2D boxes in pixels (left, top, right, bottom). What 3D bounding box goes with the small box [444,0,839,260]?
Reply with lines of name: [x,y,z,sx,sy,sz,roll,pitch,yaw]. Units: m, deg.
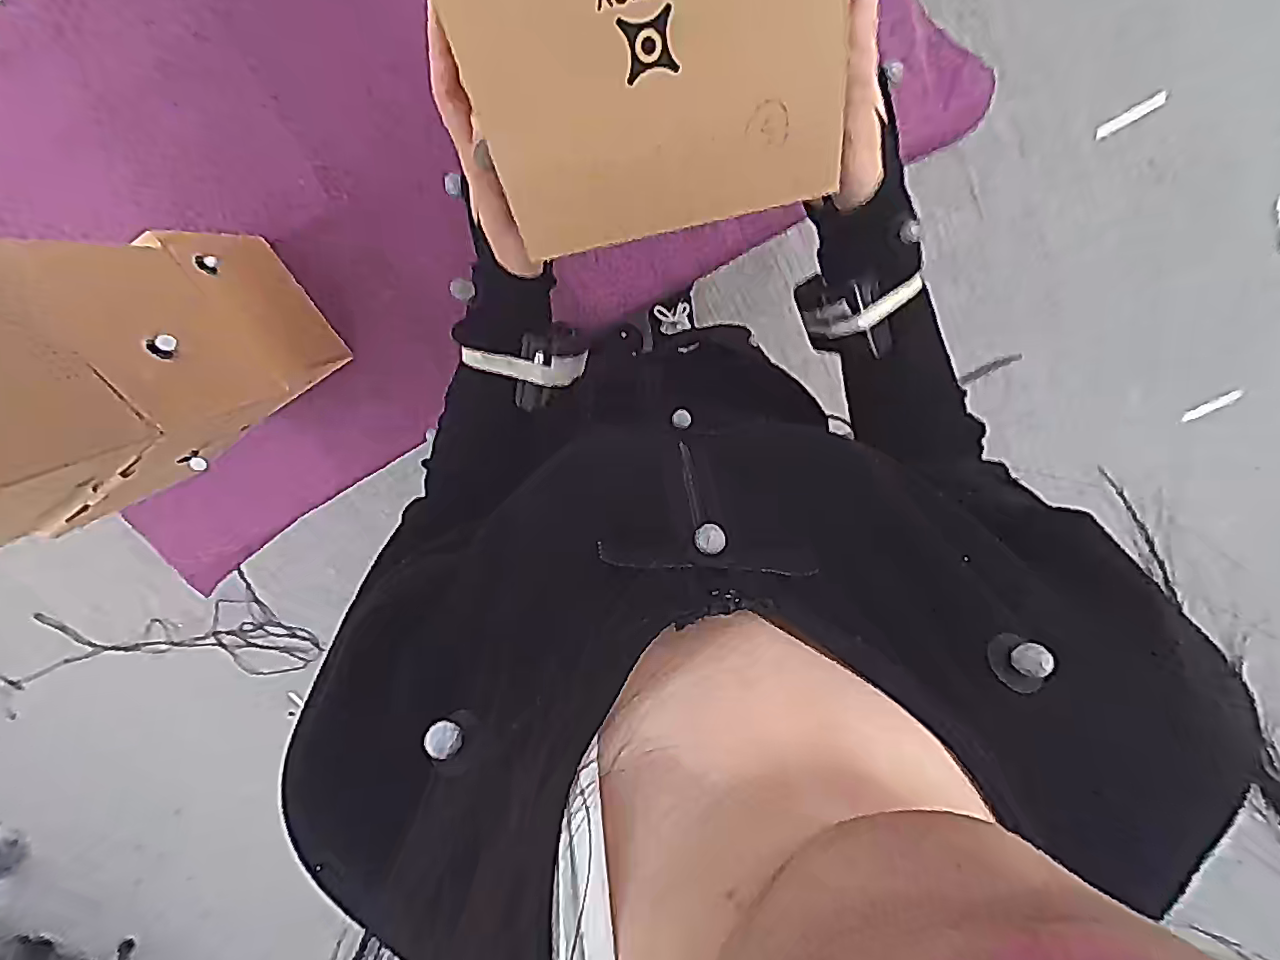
small box: [0.000,-0.251,0.289,0.168,0.176,0.179,-10,136,5]

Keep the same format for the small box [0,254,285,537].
small box: [-0.481,-0.087,0.492,0.168,0.176,0.179,-33,108,13]

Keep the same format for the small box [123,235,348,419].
small box: [-0.493,-0.164,0.638,0.168,0.176,0.179,-29,109,12]
